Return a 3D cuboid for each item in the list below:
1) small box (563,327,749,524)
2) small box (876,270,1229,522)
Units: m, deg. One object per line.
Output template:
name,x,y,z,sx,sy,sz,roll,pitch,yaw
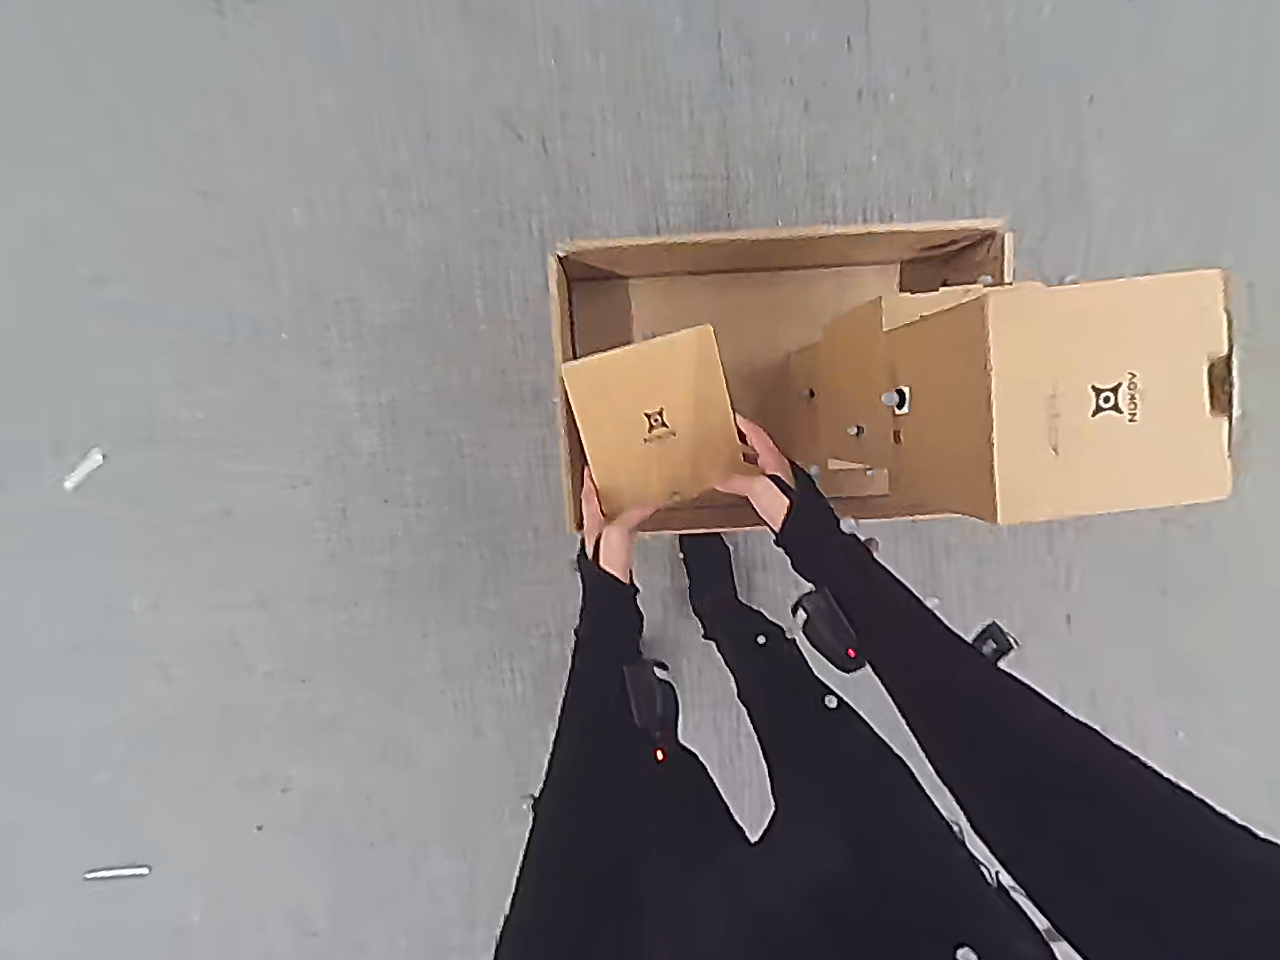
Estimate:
small box,0.013,-0.069,0.647,0.168,0.176,0.179,-16,102,0
small box,0.328,-0.066,0.461,0.179,0.176,0.168,-7,95,-1
